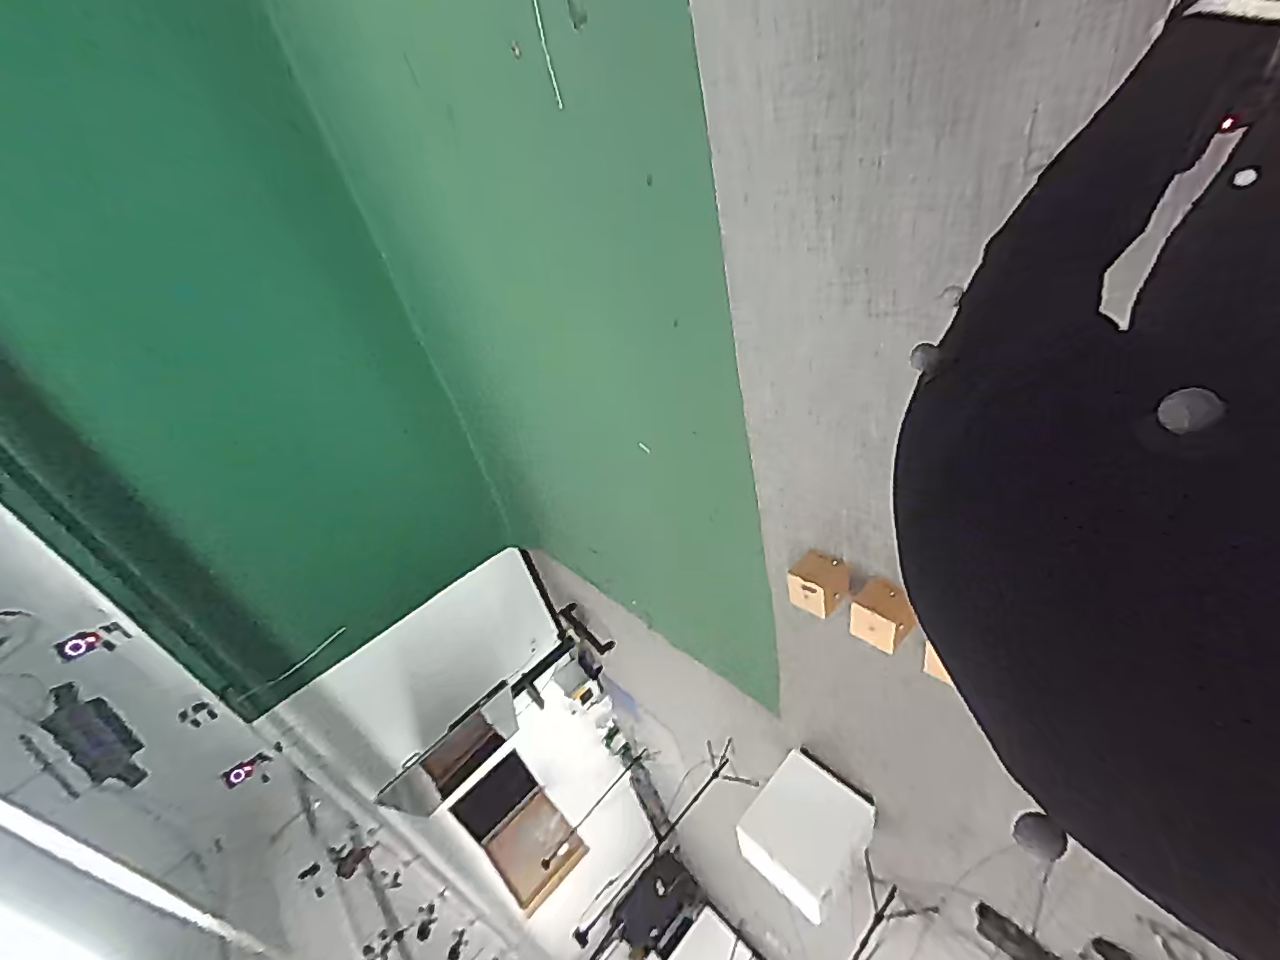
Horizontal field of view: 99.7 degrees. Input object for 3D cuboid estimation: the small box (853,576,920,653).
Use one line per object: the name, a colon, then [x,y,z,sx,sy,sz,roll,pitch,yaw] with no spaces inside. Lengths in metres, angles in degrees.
small box: [0.905,0.490,1.983,0.168,0.176,0.179,25,140,44]

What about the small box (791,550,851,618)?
small box: [0.729,0.412,2.171,0.168,0.176,0.179,22,138,46]
